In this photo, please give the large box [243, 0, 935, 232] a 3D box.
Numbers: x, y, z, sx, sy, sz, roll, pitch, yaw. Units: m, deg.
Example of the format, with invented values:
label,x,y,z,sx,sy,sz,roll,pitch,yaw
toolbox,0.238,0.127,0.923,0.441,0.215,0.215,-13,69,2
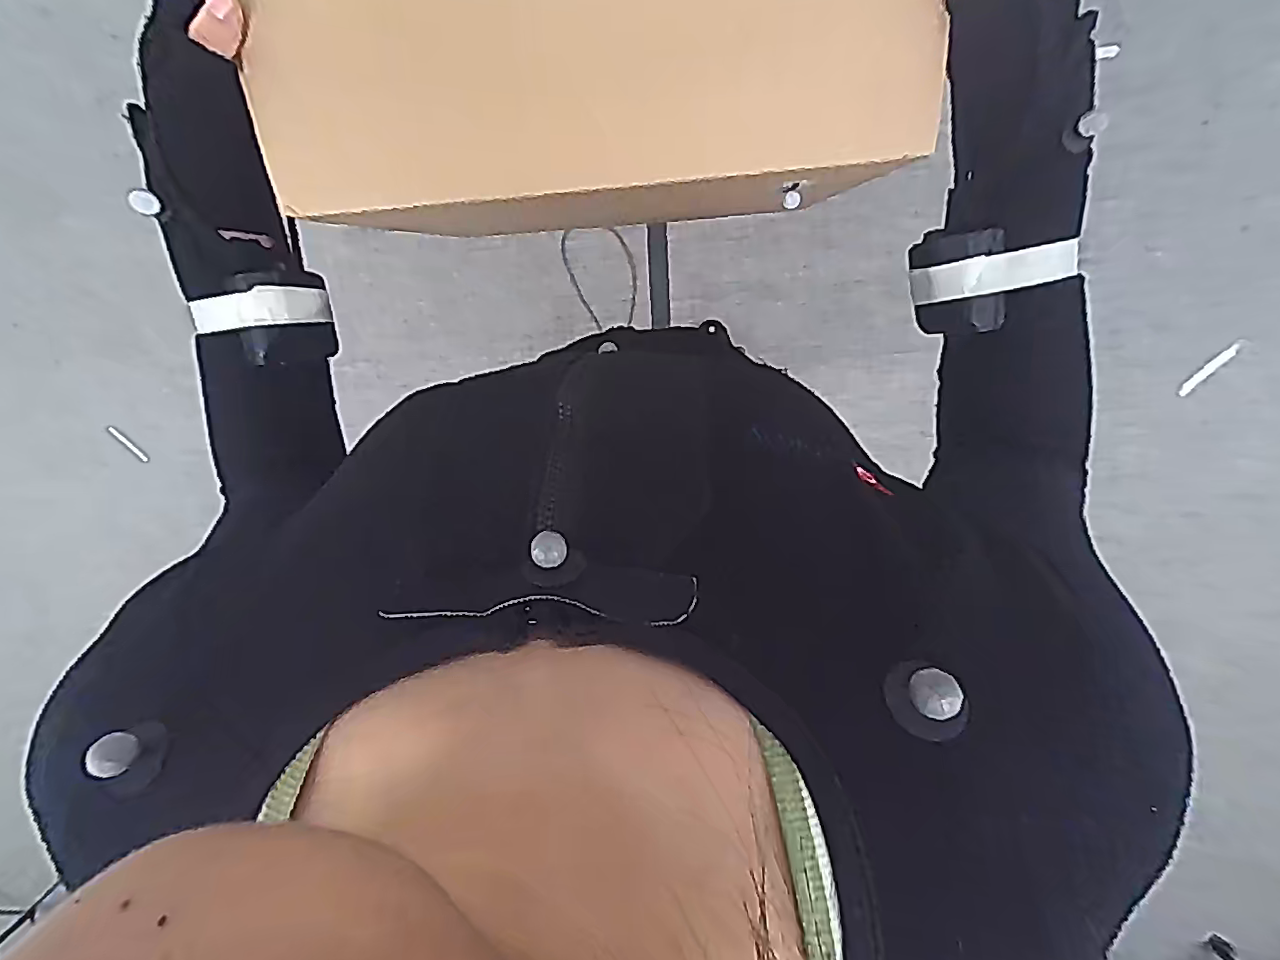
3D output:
label,x,y,z,sx,sy,sz,roll,pitch,yaw
large box,-0.029,-0.385,0.427,0.408,0.320,0.320,-3,111,5
